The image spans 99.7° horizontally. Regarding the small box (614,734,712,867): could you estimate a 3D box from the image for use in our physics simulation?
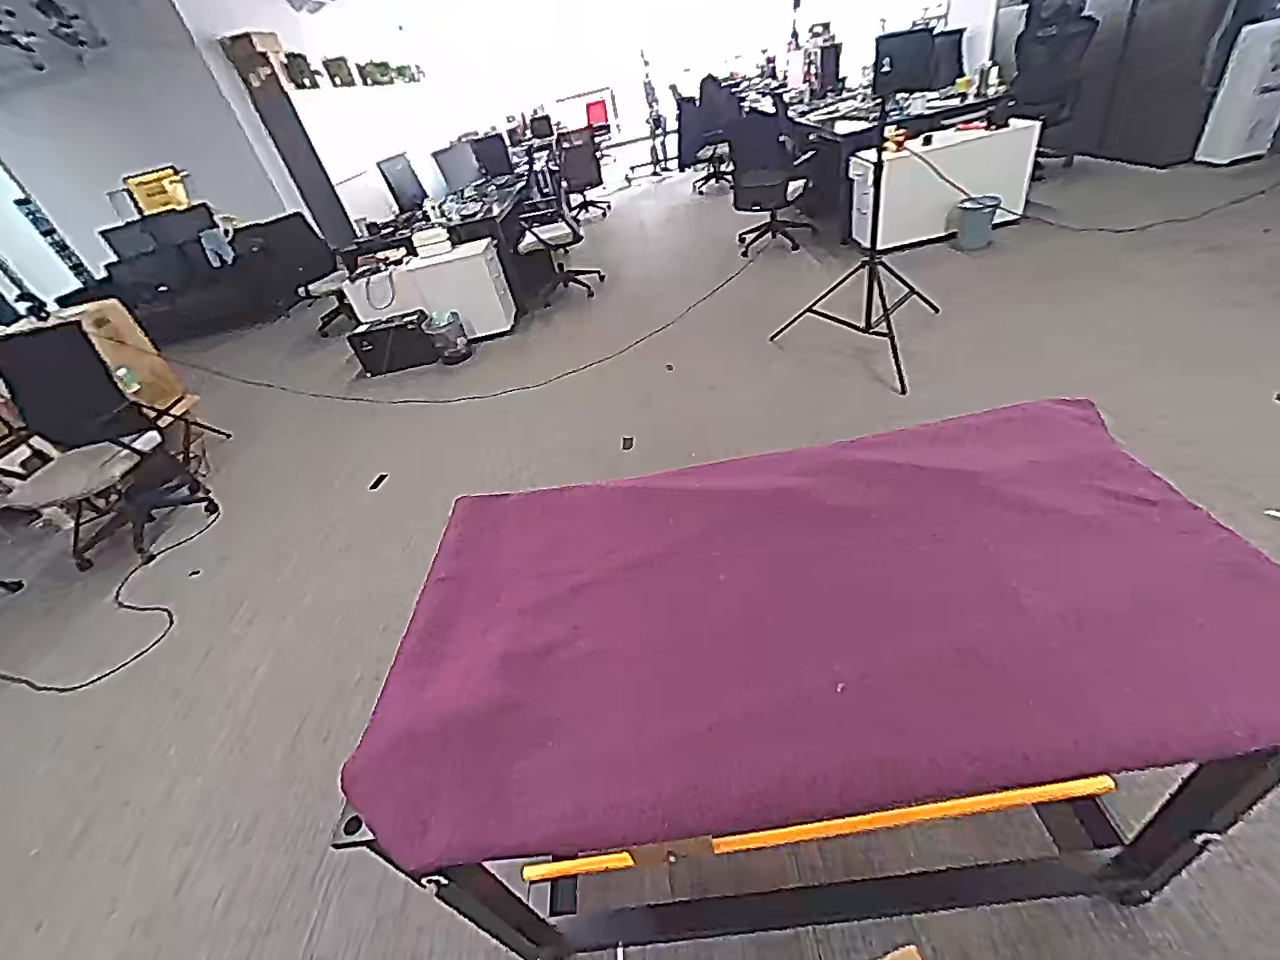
[{"bbox_3d":[0.045,0.662,1.119,0.168,0.176,0.179,-13,39,2],"label":"small box"}]
